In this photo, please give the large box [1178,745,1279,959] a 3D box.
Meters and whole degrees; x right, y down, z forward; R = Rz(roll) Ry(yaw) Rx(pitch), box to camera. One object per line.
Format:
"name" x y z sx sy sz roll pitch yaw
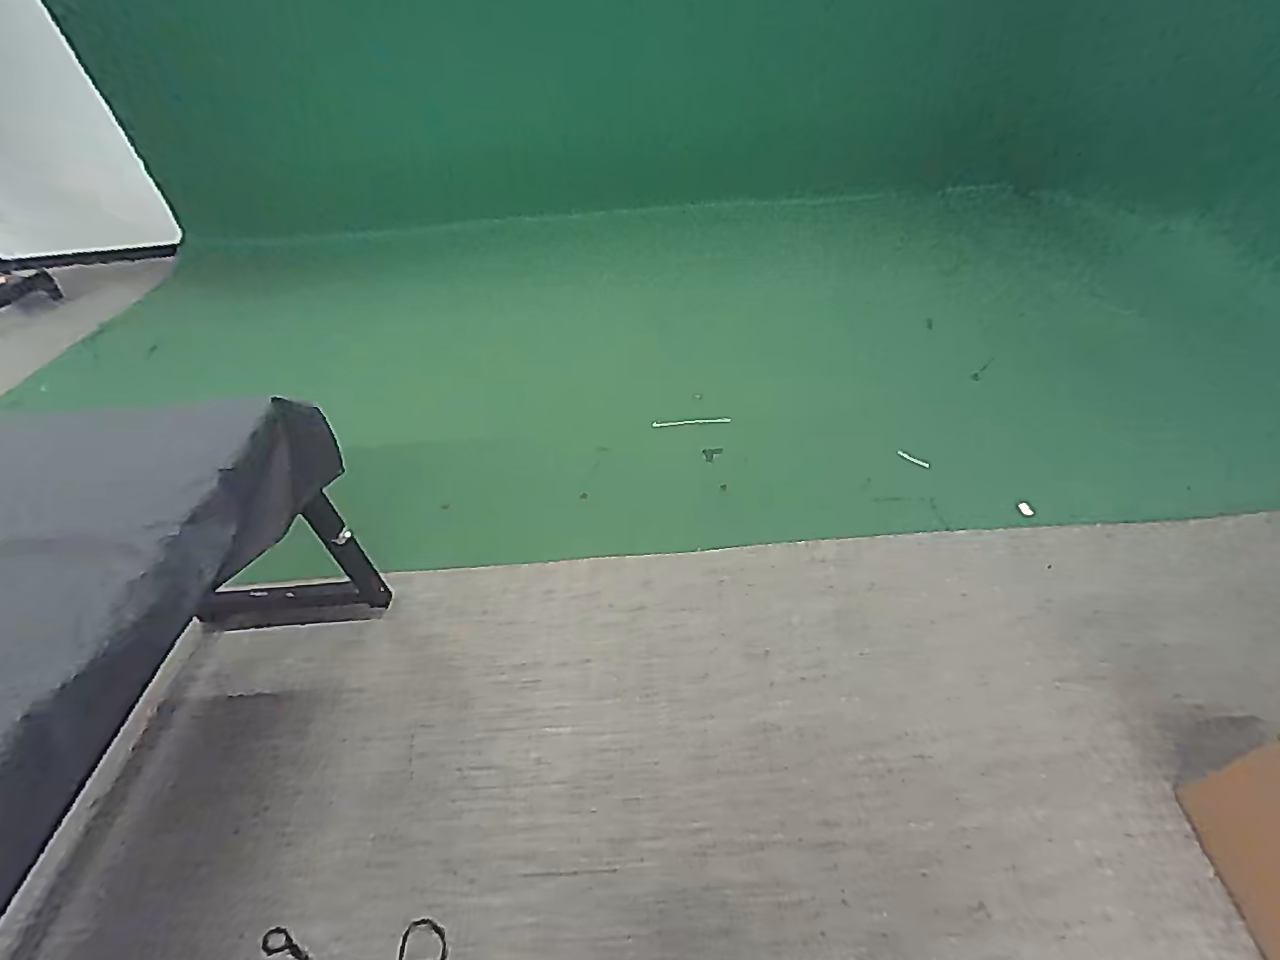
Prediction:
"large box" 1.280 0.705 0.908 0.320 0.320 0.408 -1 45 6
